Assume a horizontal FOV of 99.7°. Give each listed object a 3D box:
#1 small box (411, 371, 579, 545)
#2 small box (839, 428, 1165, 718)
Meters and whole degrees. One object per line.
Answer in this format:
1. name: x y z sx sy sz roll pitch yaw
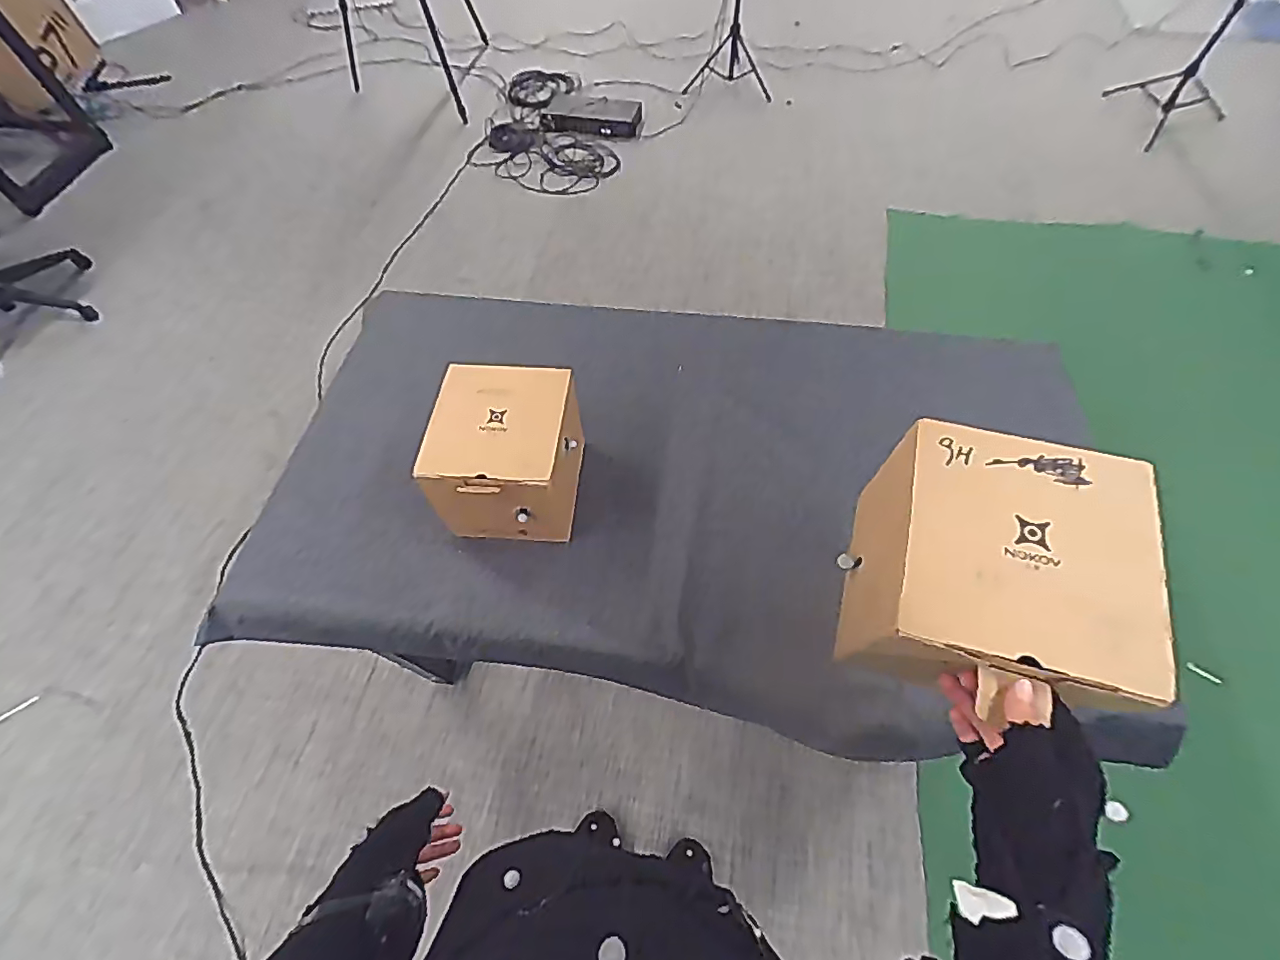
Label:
1. small box: -0.179 -0.024 0.732 0.168 0.176 0.179 3 58 2
2. small box: 0.277 0.085 0.452 0.168 0.176 0.179 13 67 10
